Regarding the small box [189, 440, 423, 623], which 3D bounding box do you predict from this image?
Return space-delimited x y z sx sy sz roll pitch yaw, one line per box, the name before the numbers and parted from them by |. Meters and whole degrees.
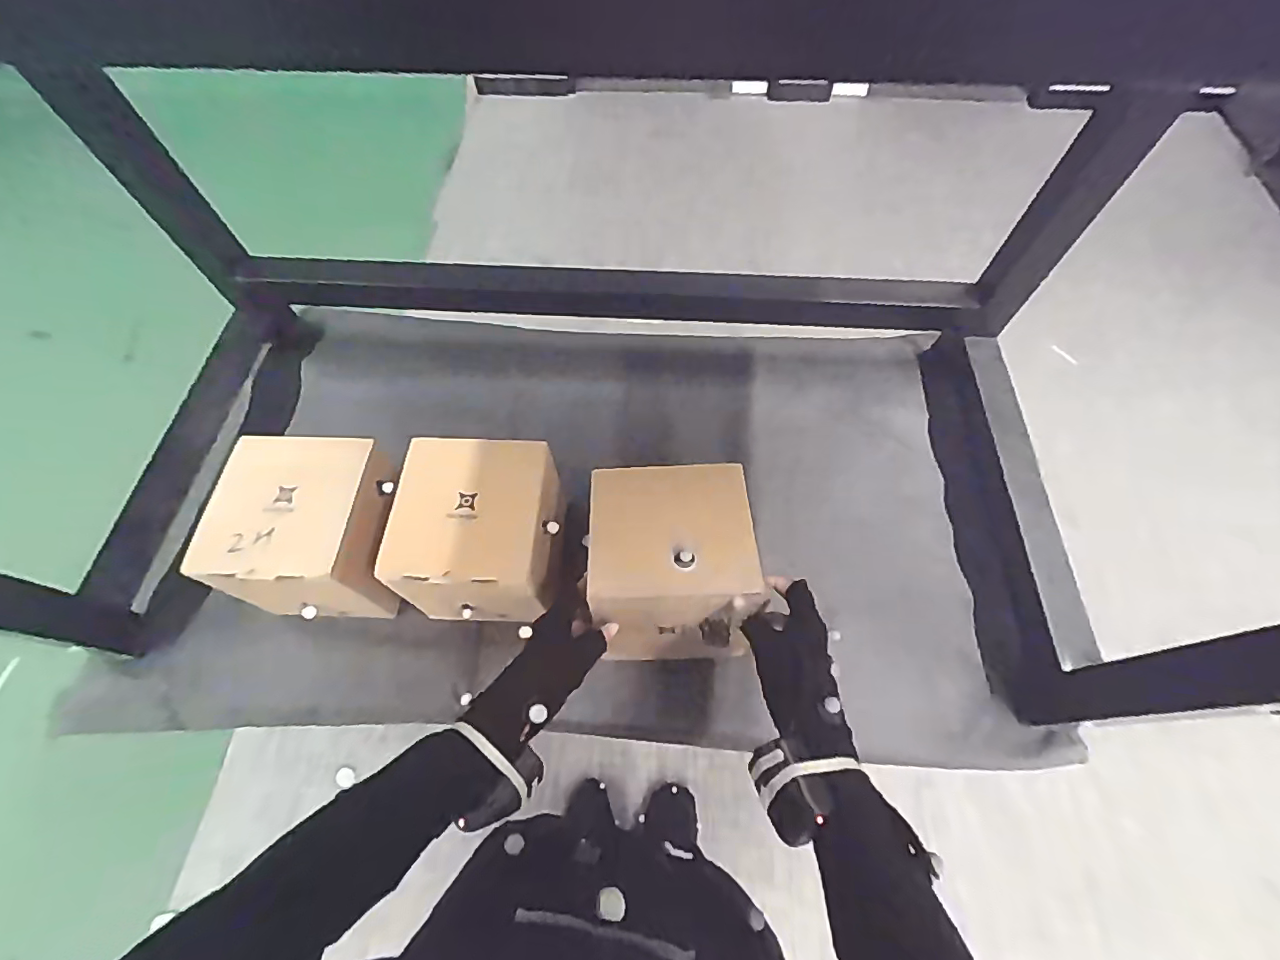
small box | -0.394 0.069 0.681 0.168 0.176 0.179 1 61 2
